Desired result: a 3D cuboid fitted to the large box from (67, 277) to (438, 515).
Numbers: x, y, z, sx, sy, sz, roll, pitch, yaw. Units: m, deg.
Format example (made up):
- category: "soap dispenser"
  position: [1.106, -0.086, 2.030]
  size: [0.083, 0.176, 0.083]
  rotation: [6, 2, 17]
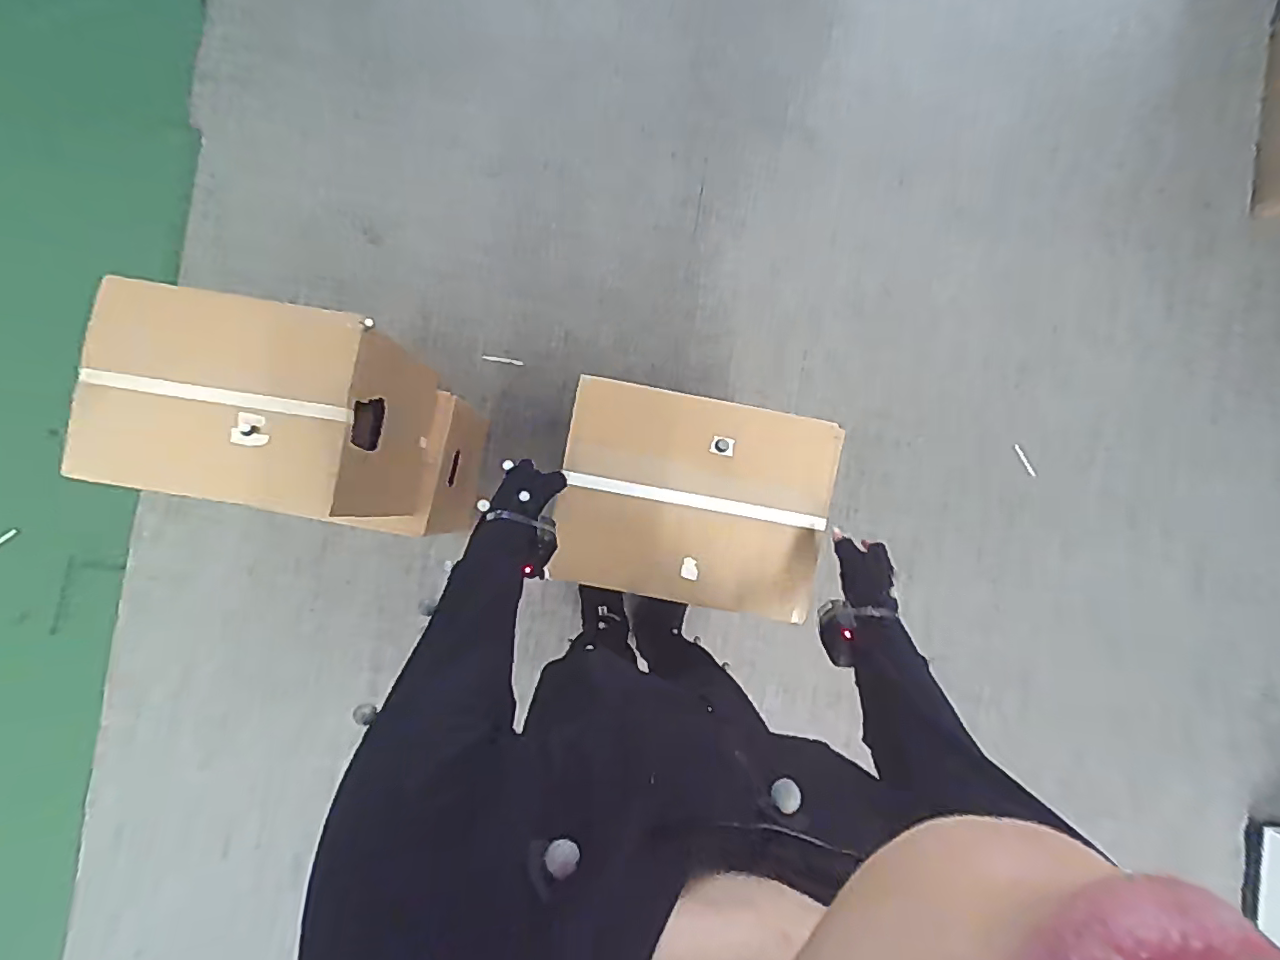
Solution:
- category: "large box"
  position: [-0.631, -0.119, 0.959]
  size: [0.408, 0.320, 0.320]
  rotation: [9, 86, -1]
